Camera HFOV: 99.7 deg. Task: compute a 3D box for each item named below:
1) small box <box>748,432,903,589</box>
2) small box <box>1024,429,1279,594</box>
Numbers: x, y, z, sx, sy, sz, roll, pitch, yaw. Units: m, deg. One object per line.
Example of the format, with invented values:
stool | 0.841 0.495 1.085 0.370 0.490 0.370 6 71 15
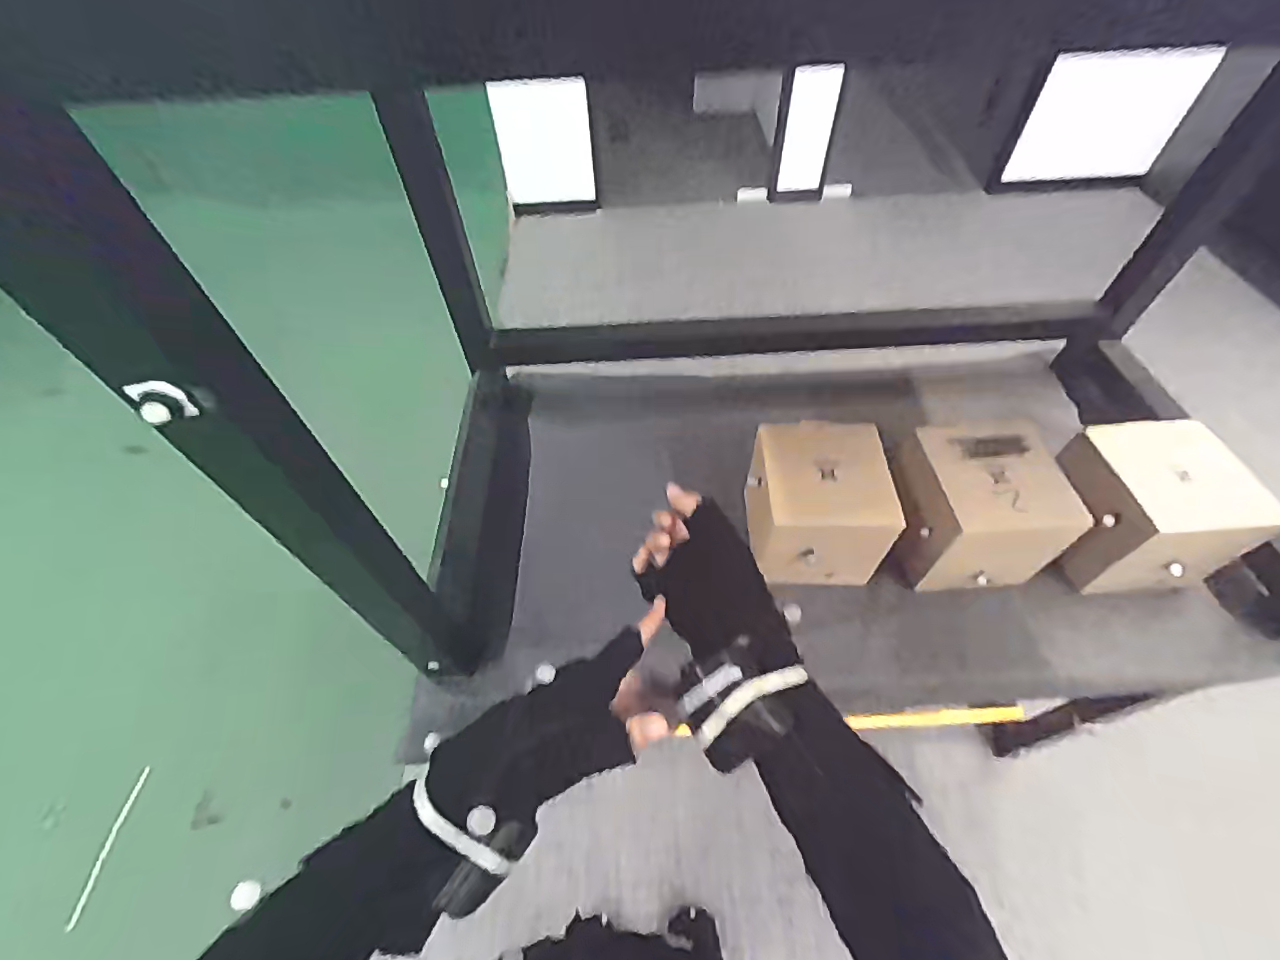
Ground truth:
small box | 0.256 0.049 0.792 0.168 0.176 0.179 0 52 2
small box | 0.703 0.051 0.768 0.168 0.176 0.179 -4 52 -1
